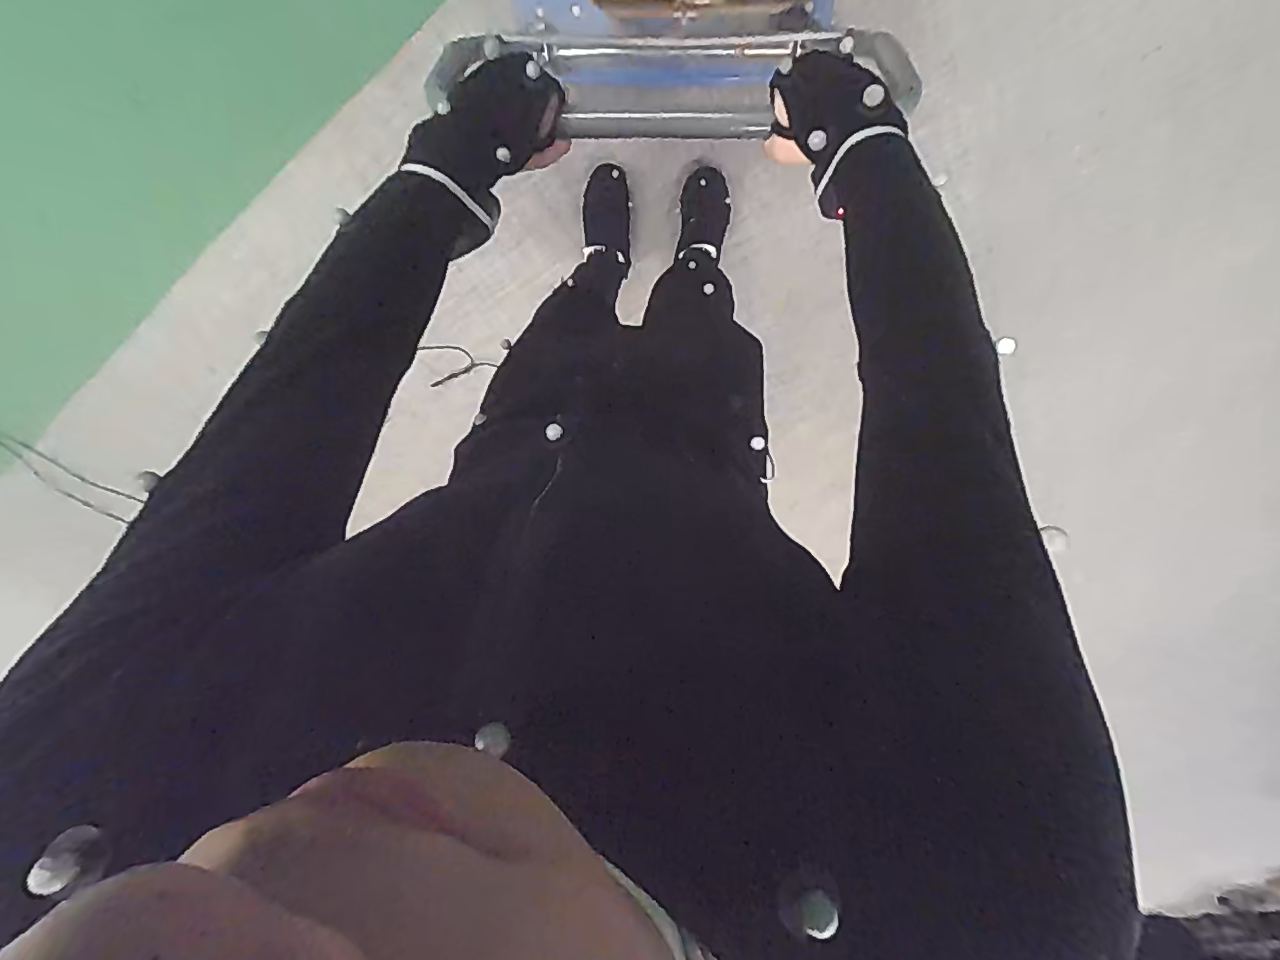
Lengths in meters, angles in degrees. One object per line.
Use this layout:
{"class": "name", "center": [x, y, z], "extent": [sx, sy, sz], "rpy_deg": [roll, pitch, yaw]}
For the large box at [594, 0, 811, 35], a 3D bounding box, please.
{"class": "large box", "center": [0.092, -0.912, 0.774], "extent": [0.320, 0.320, 0.408], "rpy_deg": [1, 126, 3]}
